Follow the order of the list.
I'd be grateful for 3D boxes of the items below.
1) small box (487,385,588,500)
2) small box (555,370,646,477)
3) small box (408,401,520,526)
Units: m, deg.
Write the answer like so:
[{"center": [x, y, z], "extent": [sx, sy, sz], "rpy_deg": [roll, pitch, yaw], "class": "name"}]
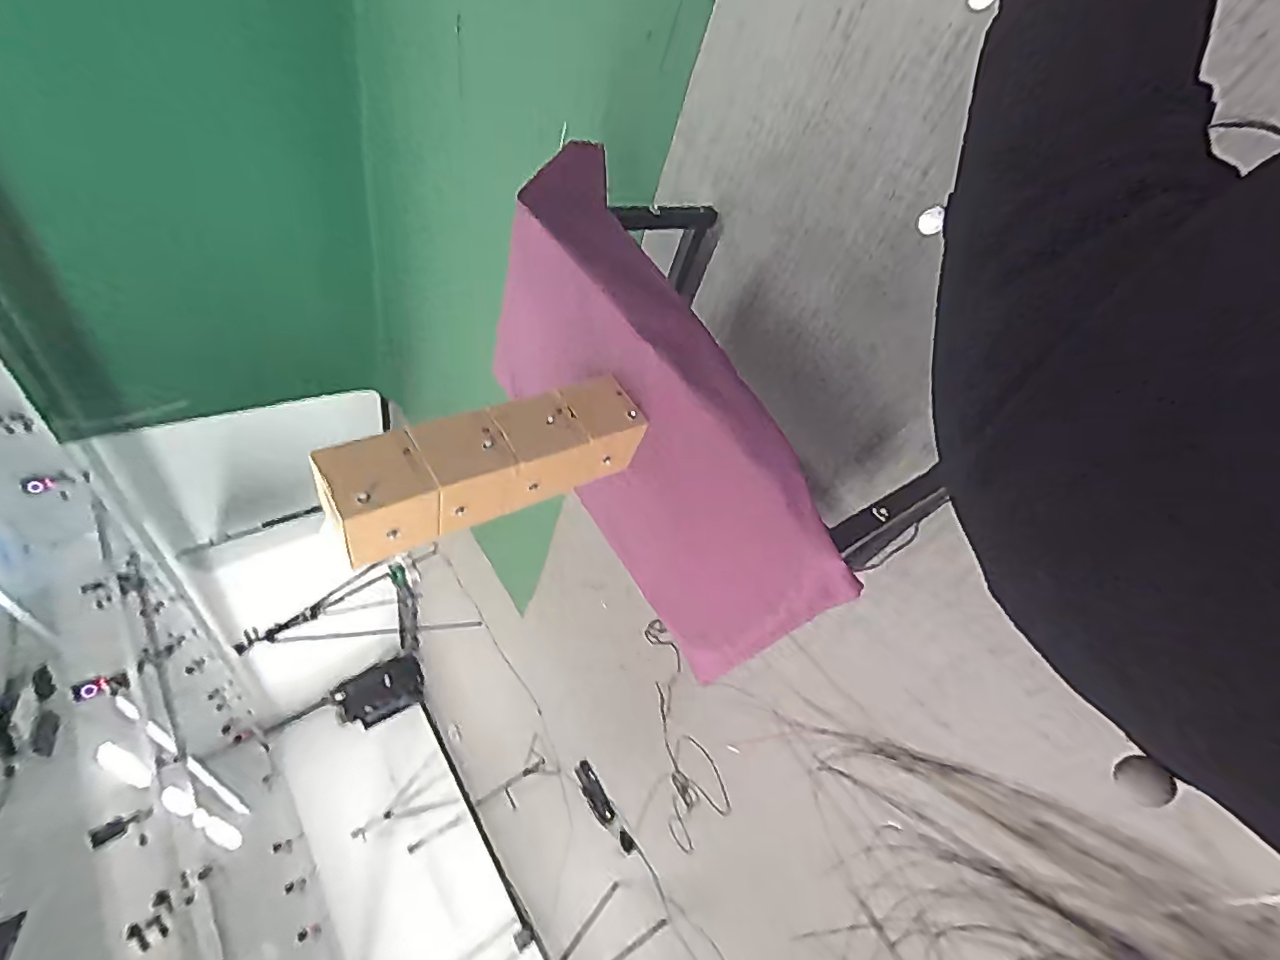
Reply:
[{"center": [-0.237, -0.087, 1.208], "extent": [0.168, 0.176, 0.179], "rpy_deg": [53, 142, 21], "class": "small box"}, {"center": [-0.108, -0.141, 1.296], "extent": [0.168, 0.176, 0.179], "rpy_deg": [54, 143, 21], "class": "small box"}, {"center": [-0.364, -0.037, 1.119], "extent": [0.168, 0.176, 0.179], "rpy_deg": [53, 142, 21], "class": "small box"}]
